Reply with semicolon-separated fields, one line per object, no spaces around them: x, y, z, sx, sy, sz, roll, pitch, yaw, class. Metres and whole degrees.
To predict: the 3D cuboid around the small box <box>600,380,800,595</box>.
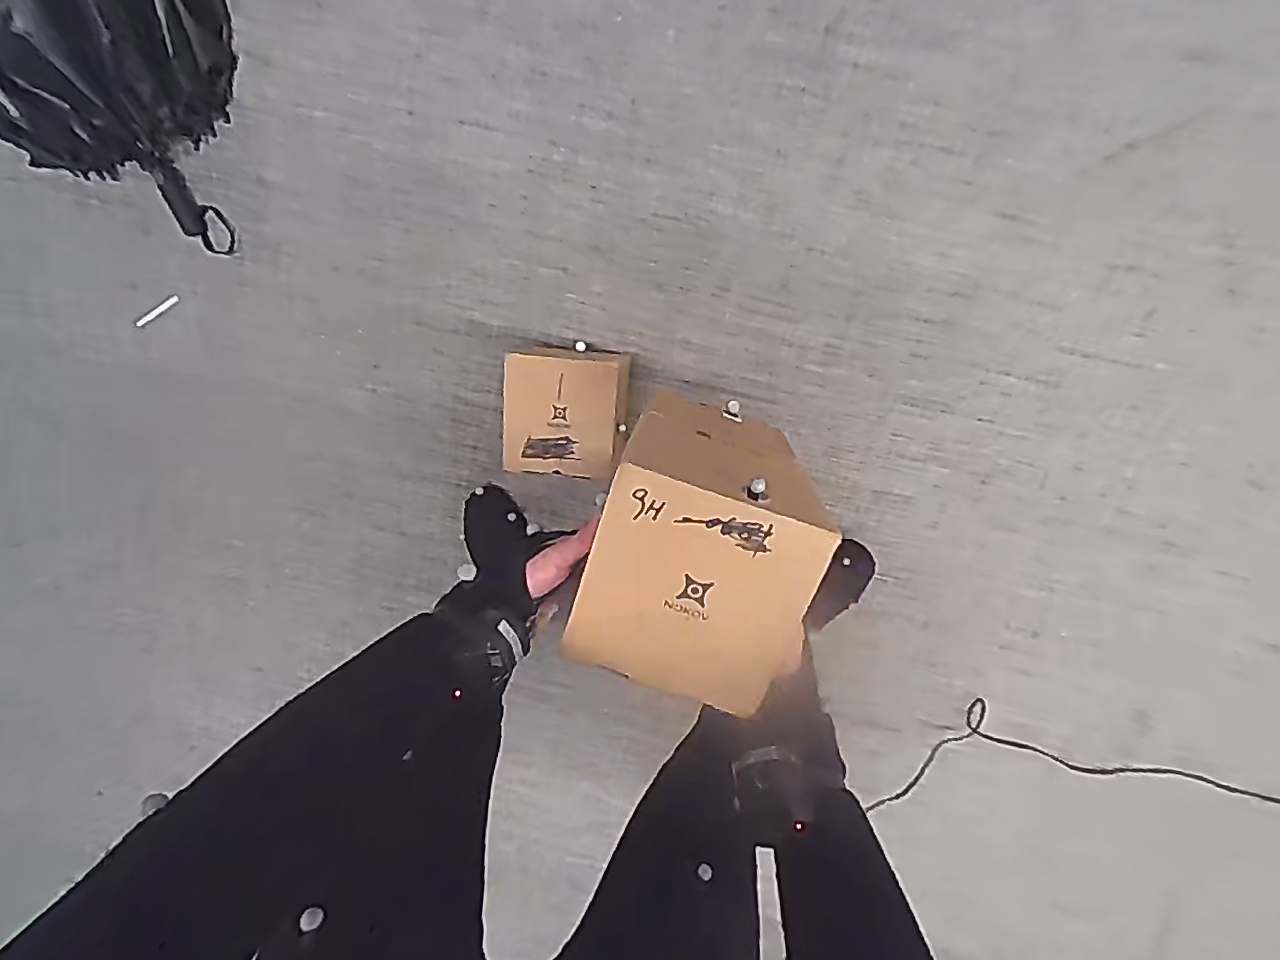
0.067;-0.002;0.632;0.168;0.176;0.179;18;110;0;small box

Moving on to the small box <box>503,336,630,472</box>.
-0.109;-0.127;0.854;0.168;0.176;0.179;6;108;3;small box
